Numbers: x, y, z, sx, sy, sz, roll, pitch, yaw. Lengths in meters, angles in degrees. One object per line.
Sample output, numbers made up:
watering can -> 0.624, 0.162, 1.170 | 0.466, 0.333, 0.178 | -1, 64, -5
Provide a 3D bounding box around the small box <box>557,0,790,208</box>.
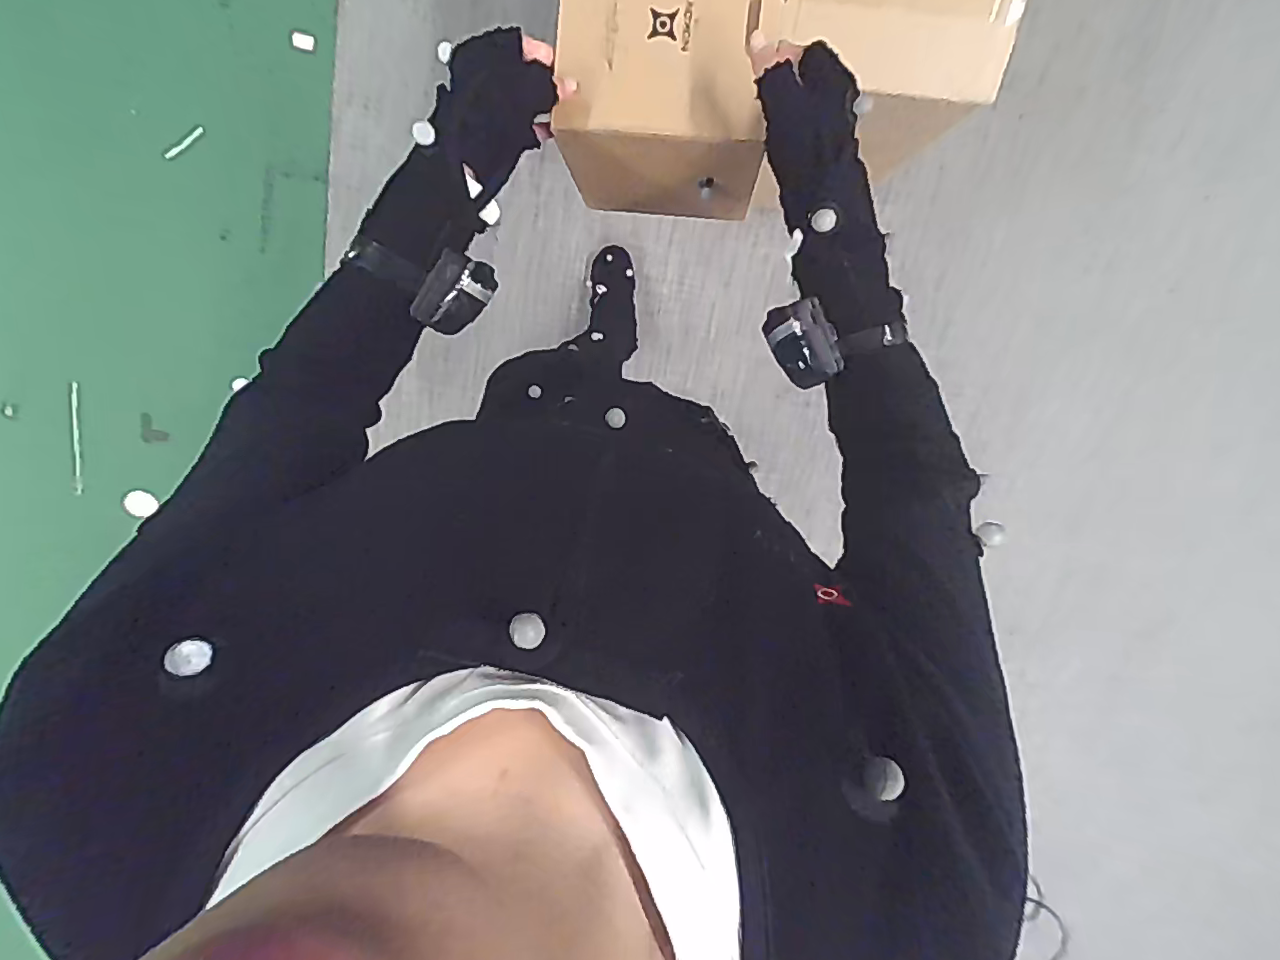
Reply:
small box -> 0.033, -0.369, 0.498 | 0.179, 0.176, 0.168 | 6, 96, 5
